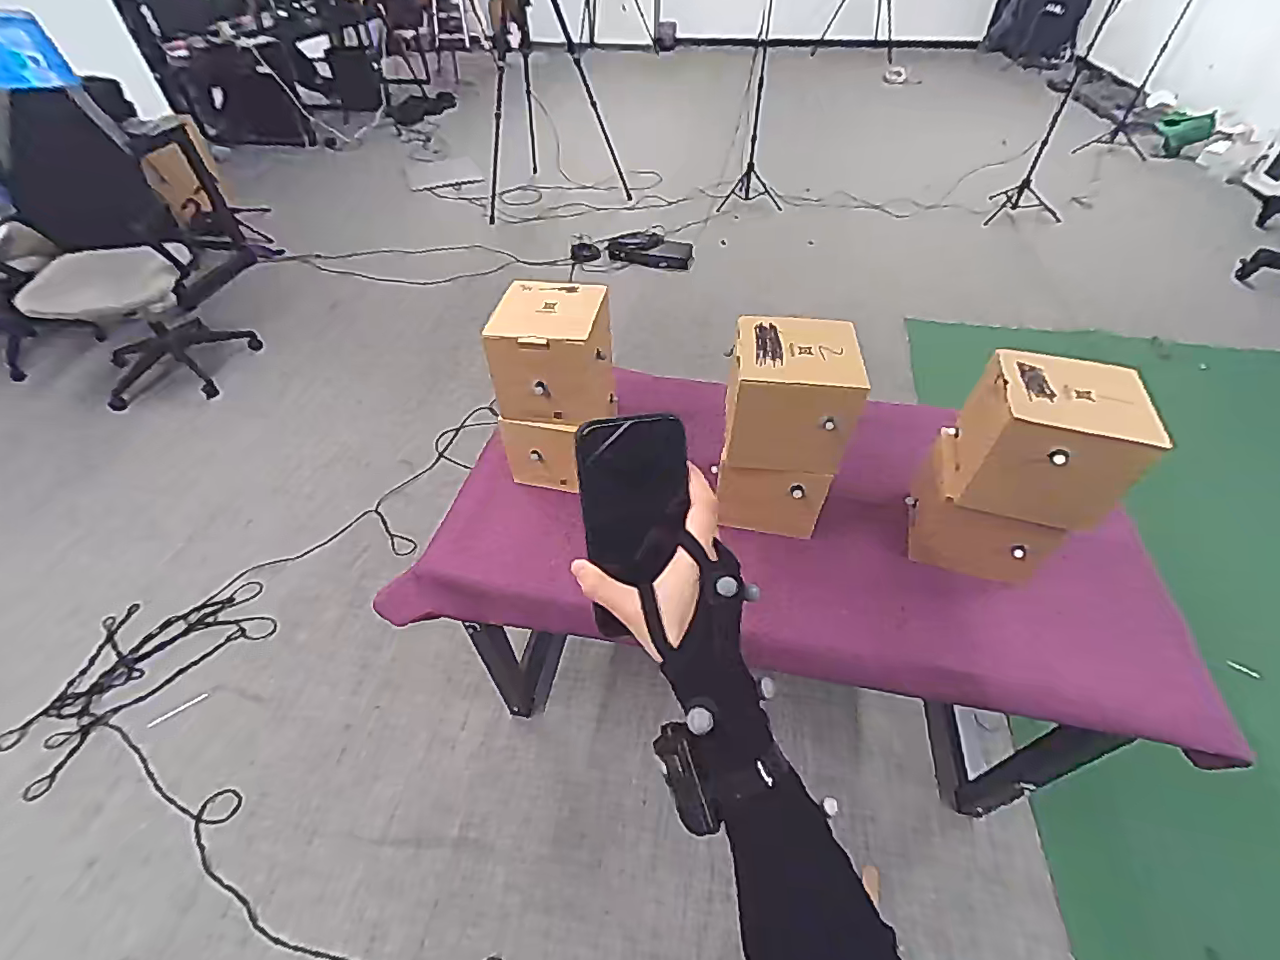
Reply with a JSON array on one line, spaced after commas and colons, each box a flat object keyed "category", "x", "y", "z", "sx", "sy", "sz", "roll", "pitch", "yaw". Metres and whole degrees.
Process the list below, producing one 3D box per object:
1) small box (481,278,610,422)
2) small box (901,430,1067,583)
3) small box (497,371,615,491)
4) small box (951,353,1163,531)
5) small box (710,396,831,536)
[{"category": "small box", "x": -0.147, "y": -0.218, "z": 0.919, "sx": 0.168, "sy": 0.176, "sz": 0.179, "roll": 7, "pitch": 49, "yaw": 6}, {"category": "small box", "x": 0.554, "y": 0.047, "z": 0.892, "sx": 0.179, "sy": 0.176, "sz": 0.168, "roll": 15, "pitch": 49, "yaw": 14}, {"category": "small box", "x": -0.148, "y": -0.101, "z": 1.034, "sx": 0.168, "sy": 0.176, "sz": 0.179, "roll": 10, "pitch": 48, "yaw": 10}, {"category": "small box", "x": 0.558, "y": -0.051, "z": 0.760, "sx": 0.179, "sy": 0.176, "sz": 0.168, "roll": 15, "pitch": 49, "yaw": 13}, {"category": "small box", "x": 0.227, "y": -0.021, "z": 0.956, "sx": 0.179, "sy": 0.176, "sz": 0.168, "roll": 10, "pitch": 48, "yaw": 10}]
